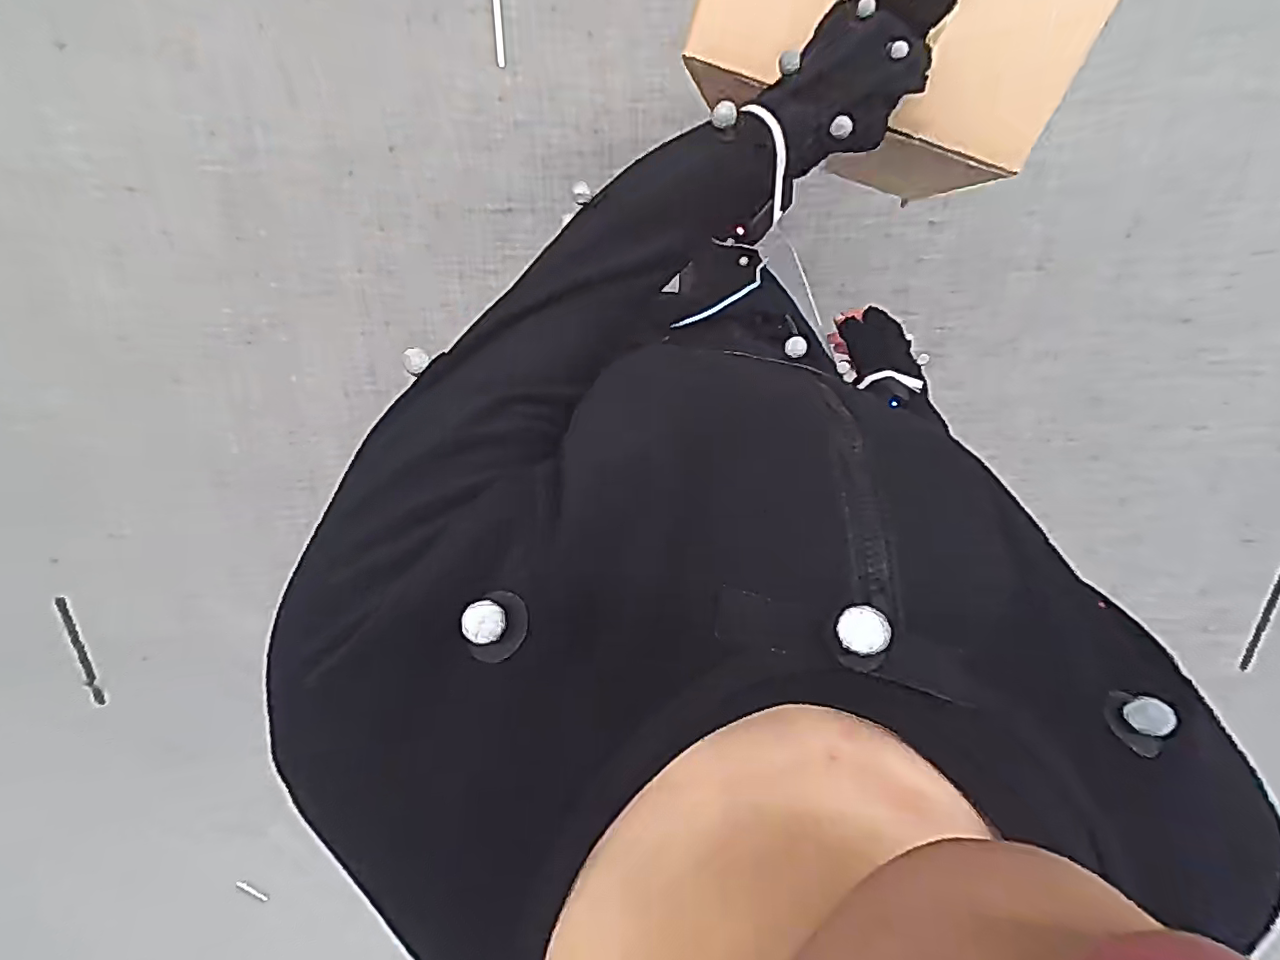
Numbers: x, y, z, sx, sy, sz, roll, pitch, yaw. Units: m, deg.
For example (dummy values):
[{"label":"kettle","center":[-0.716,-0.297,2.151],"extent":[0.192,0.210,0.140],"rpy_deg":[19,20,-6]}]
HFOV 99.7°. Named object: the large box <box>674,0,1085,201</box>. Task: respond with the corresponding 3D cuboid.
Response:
[{"label":"large box","center":[0.266,-0.527,0.584],"extent":[0.320,0.408,0.320],"rpy_deg":[25,118,4]}]
